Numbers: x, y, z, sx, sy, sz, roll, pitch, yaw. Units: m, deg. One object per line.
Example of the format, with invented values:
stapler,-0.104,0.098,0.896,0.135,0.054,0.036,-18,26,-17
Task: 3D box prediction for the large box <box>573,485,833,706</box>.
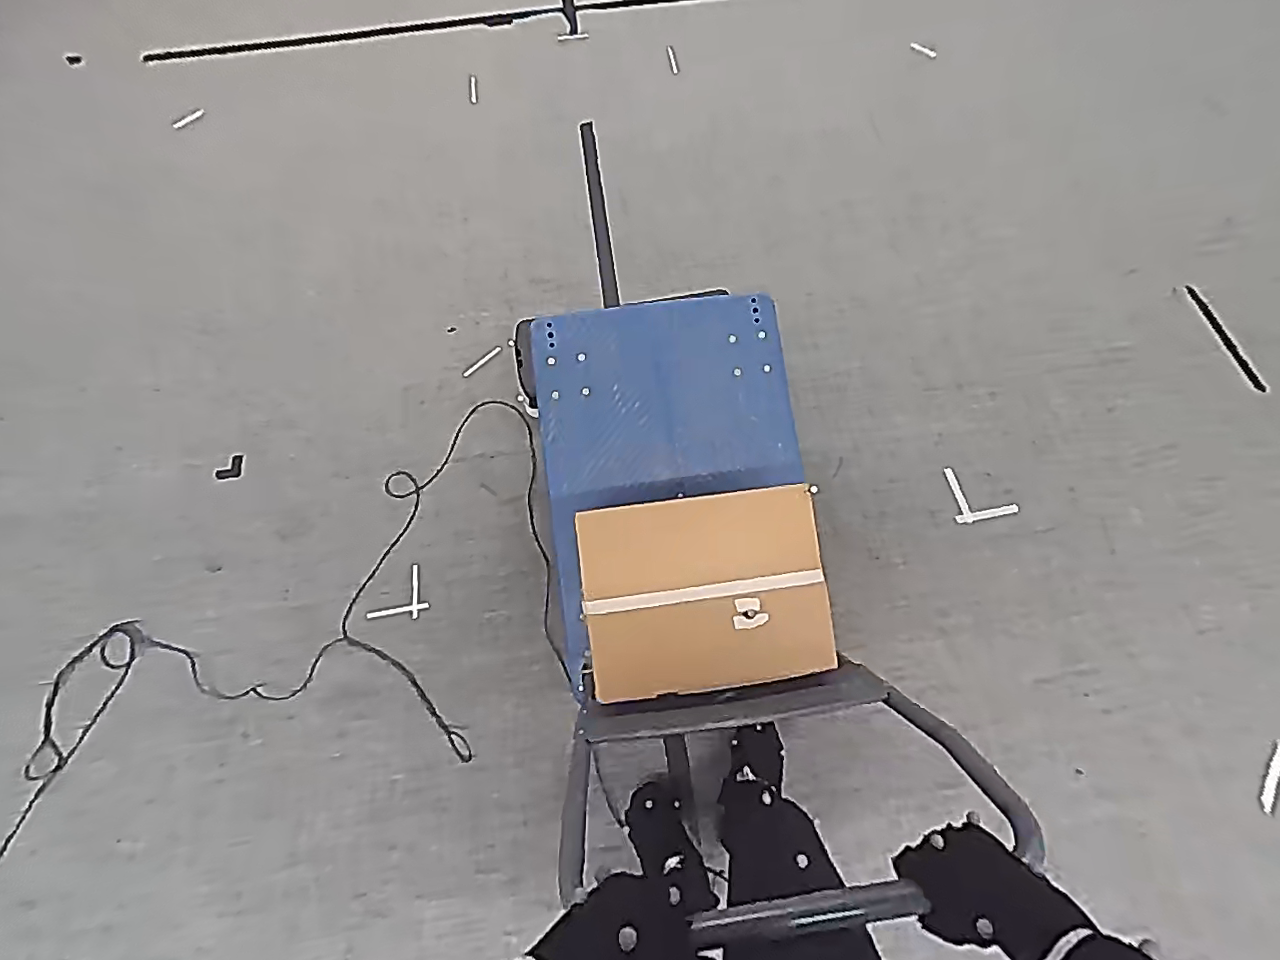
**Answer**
large box,0.097,0.202,1.045,0.408,0.320,0.320,-8,86,-4
